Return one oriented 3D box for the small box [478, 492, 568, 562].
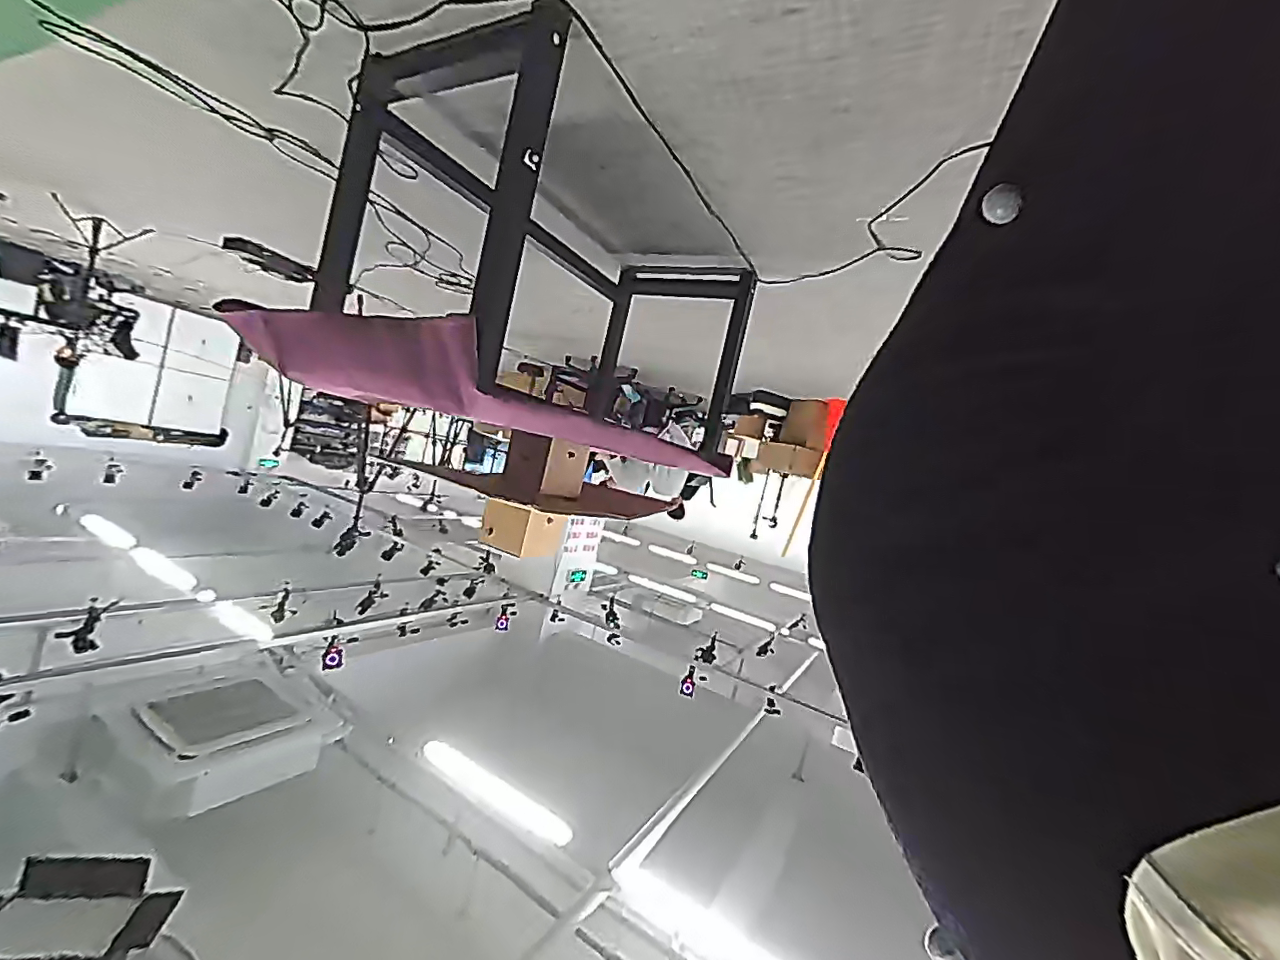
[{"bbox_3d":[-0.334,0.133,1.569,0.179,0.176,0.168,13,180,30],"label":"small box"}]
